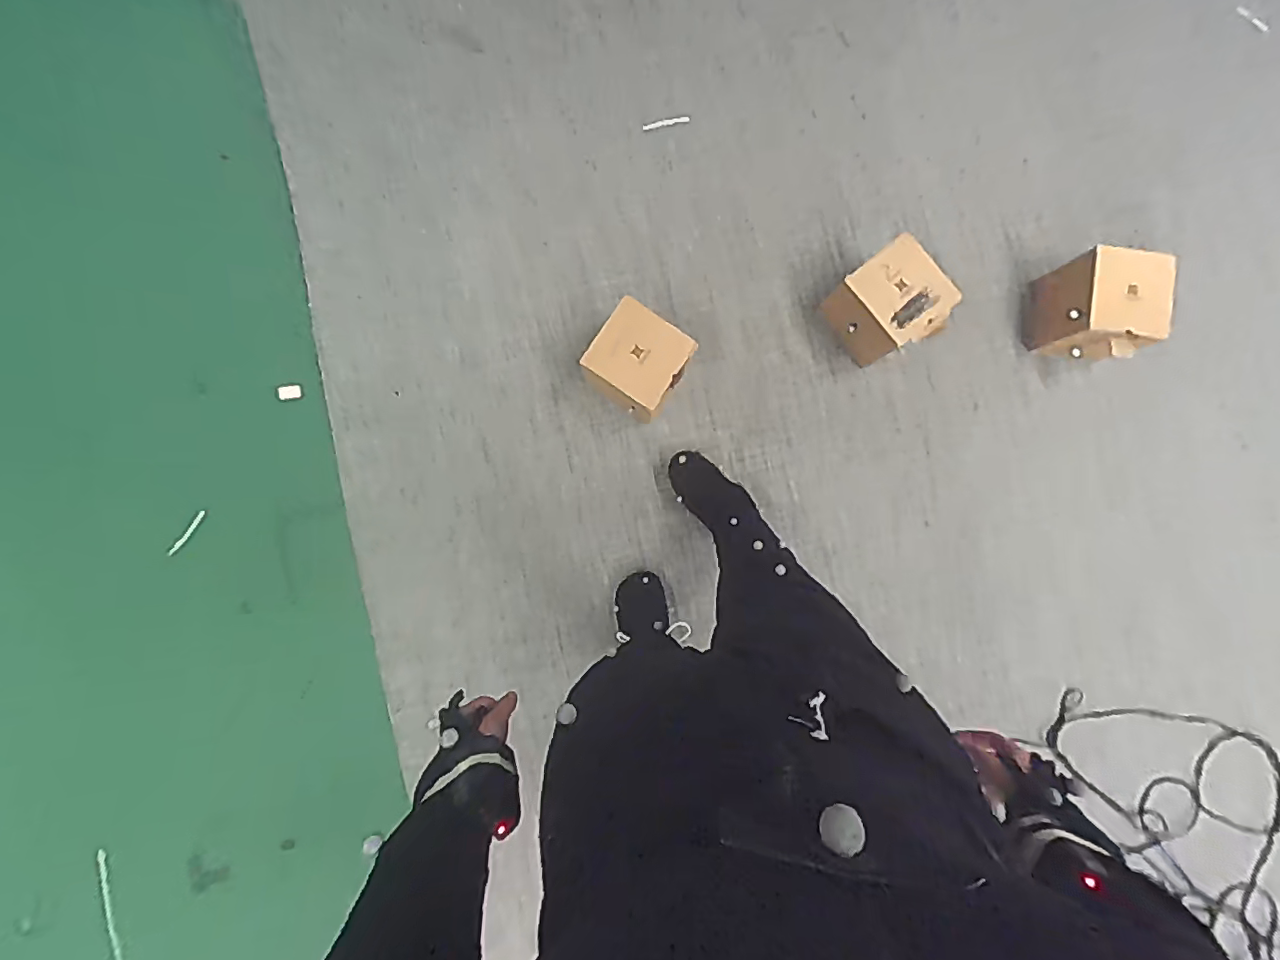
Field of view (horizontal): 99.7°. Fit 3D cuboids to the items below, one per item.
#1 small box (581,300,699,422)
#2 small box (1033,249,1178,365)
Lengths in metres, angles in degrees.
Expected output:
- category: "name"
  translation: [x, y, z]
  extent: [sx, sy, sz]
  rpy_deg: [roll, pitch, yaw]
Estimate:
- category: "small box"
  translation: [0.000, -0.235, 1.125]
  extent: [0.179, 0.176, 0.168]
  rpy_deg: [34, 86, 2]
- category: "small box"
  translation: [0.981, -0.360, 1.152]
  extent: [0.168, 0.176, 0.179]
  rpy_deg: [7, 88, -1]
